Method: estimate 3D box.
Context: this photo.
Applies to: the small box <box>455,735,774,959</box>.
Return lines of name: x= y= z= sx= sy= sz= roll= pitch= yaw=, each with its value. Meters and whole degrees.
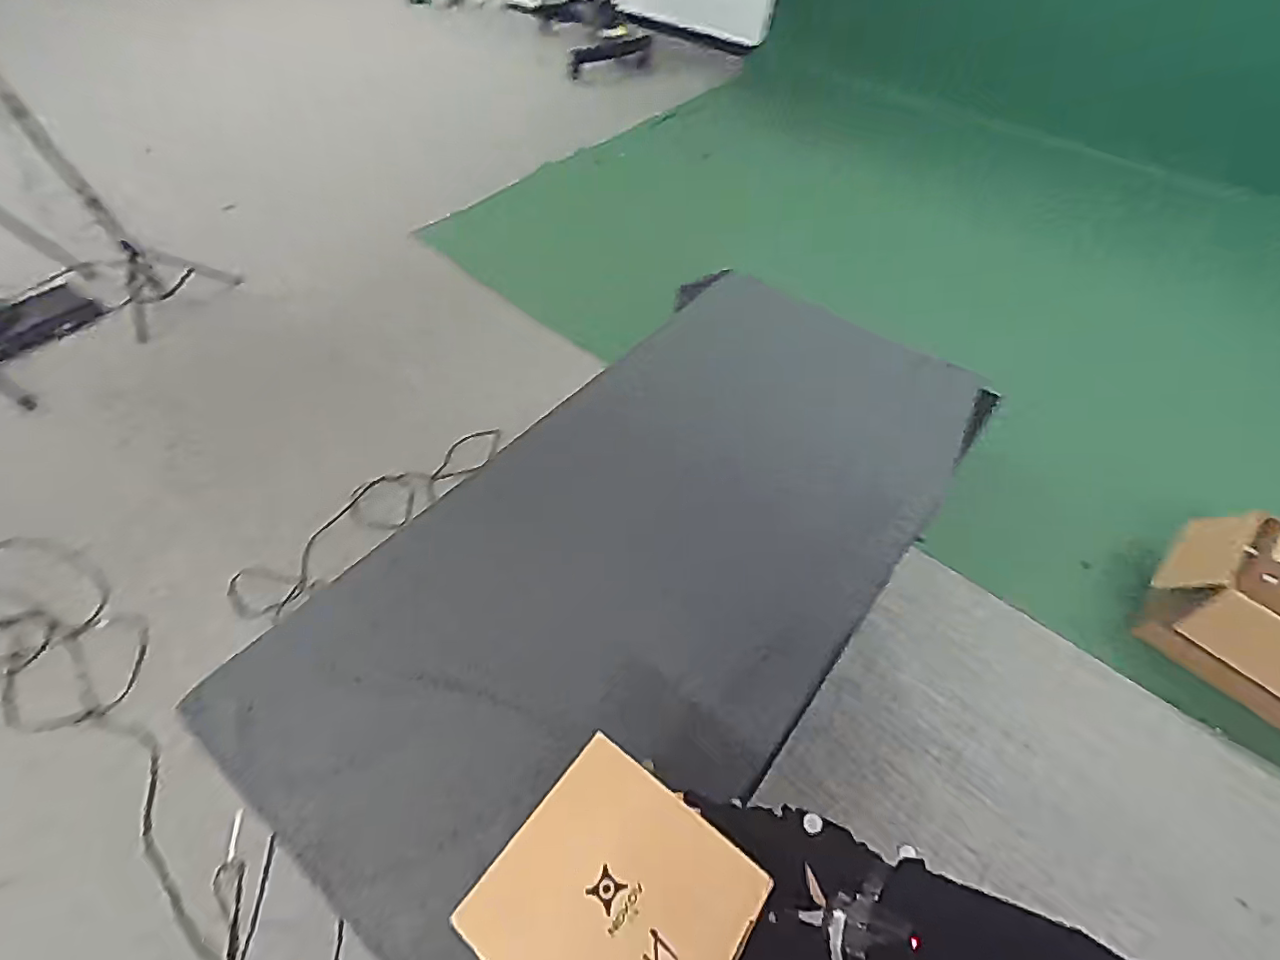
small box: x=-0.018 y=0.360 z=0.448 sx=0.179 sy=0.176 sz=0.168 roll=30 pitch=54 yaw=26
